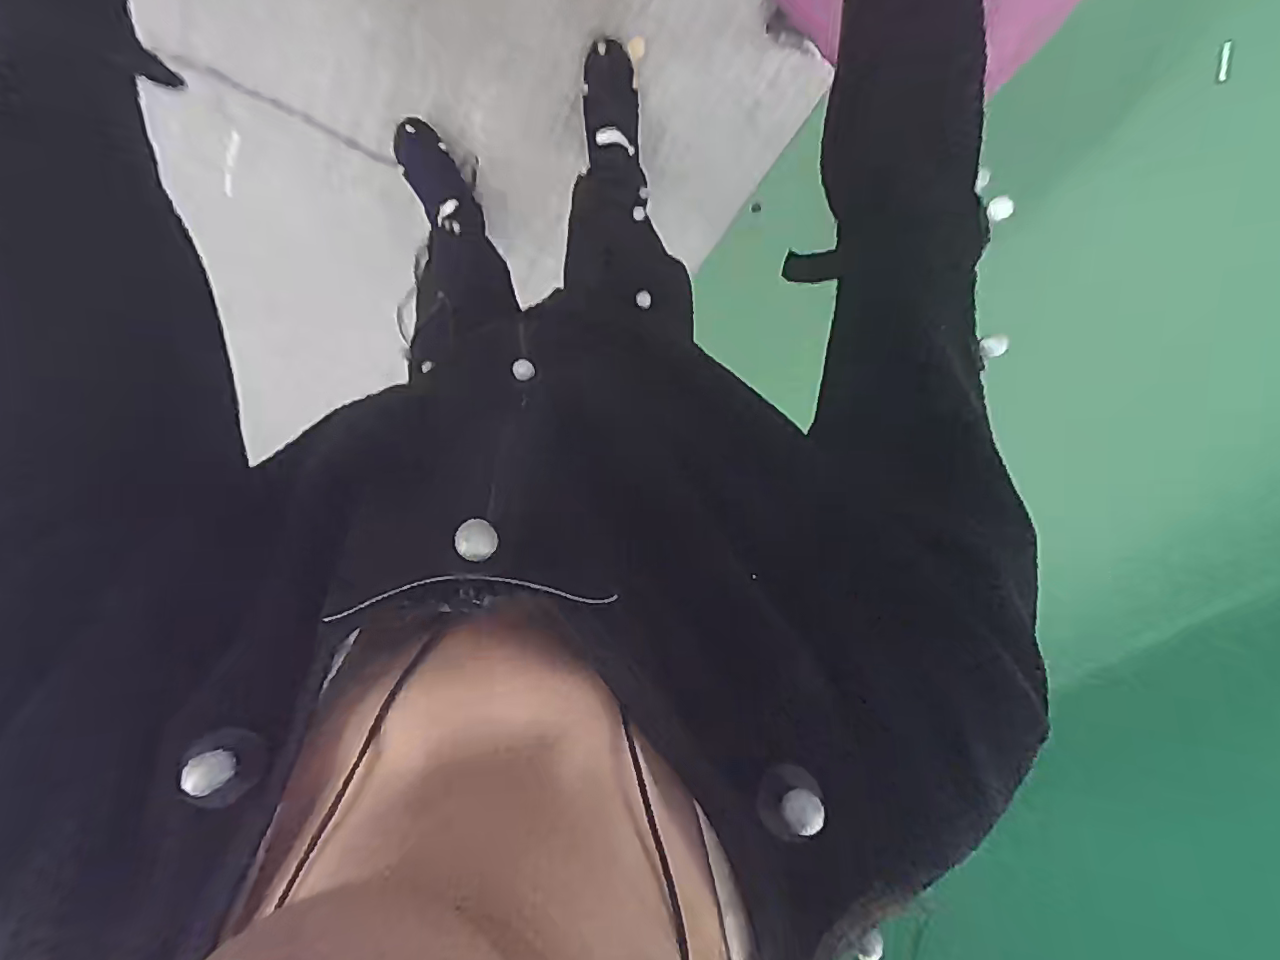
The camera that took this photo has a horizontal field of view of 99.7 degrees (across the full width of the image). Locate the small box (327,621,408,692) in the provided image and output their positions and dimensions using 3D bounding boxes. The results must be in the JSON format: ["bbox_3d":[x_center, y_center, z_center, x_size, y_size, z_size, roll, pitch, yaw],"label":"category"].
[{"bbox_3d":[-0.888,0.586,1.783,0.168,0.176,0.179,-5,132,-1],"label":"small box"}]

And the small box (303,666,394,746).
[{"bbox_3d":[-0.882,0.692,1.659,0.168,0.176,0.179,-7,132,1],"label":"small box"}]
